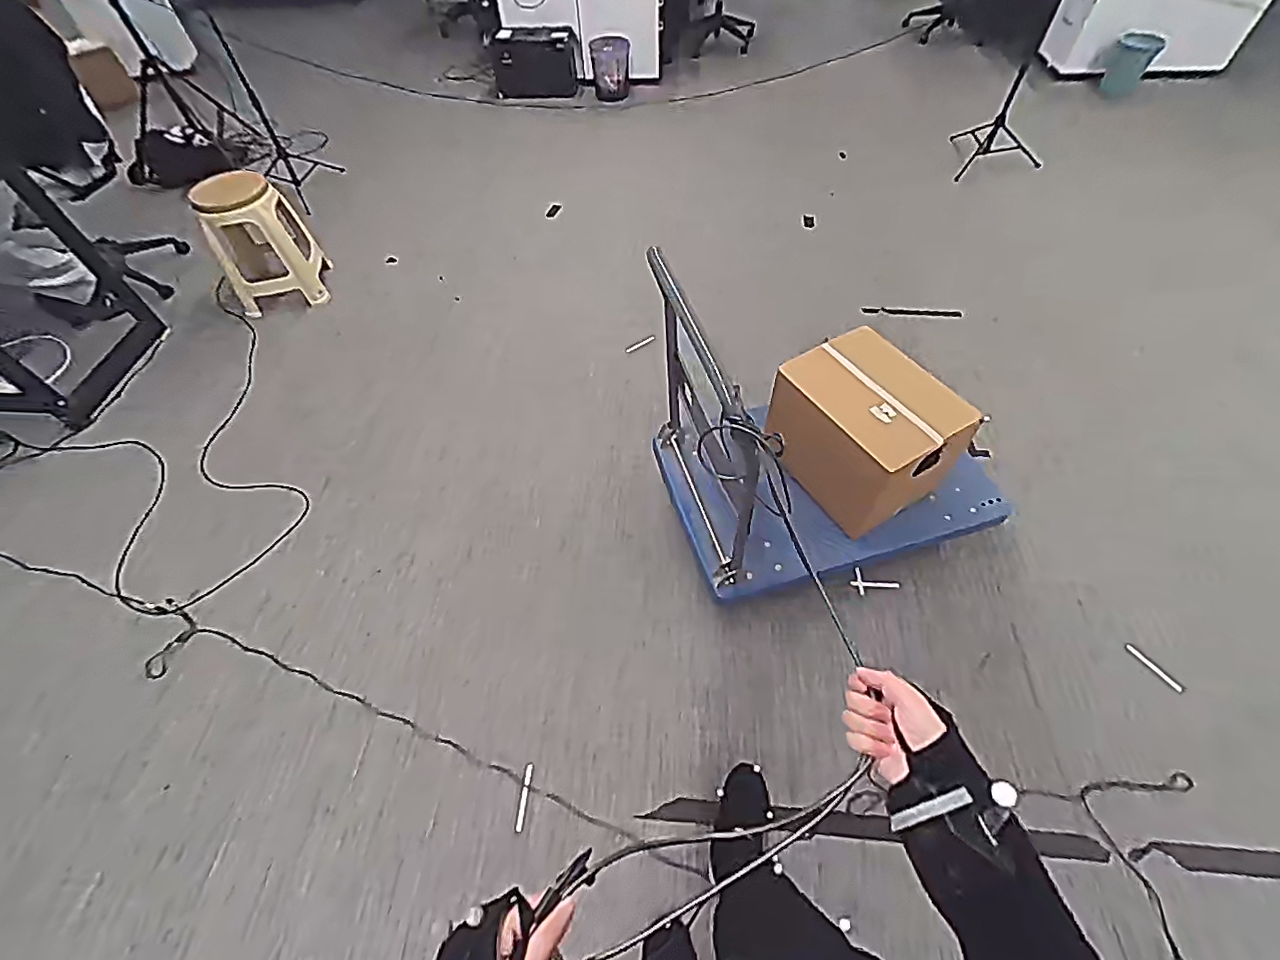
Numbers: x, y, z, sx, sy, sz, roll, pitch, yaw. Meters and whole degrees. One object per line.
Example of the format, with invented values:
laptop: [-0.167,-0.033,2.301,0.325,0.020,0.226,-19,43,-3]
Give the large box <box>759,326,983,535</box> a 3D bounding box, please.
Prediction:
large box: [0.584,-0.134,1.454,0.320,0.320,0.408,-27,60,-15]
